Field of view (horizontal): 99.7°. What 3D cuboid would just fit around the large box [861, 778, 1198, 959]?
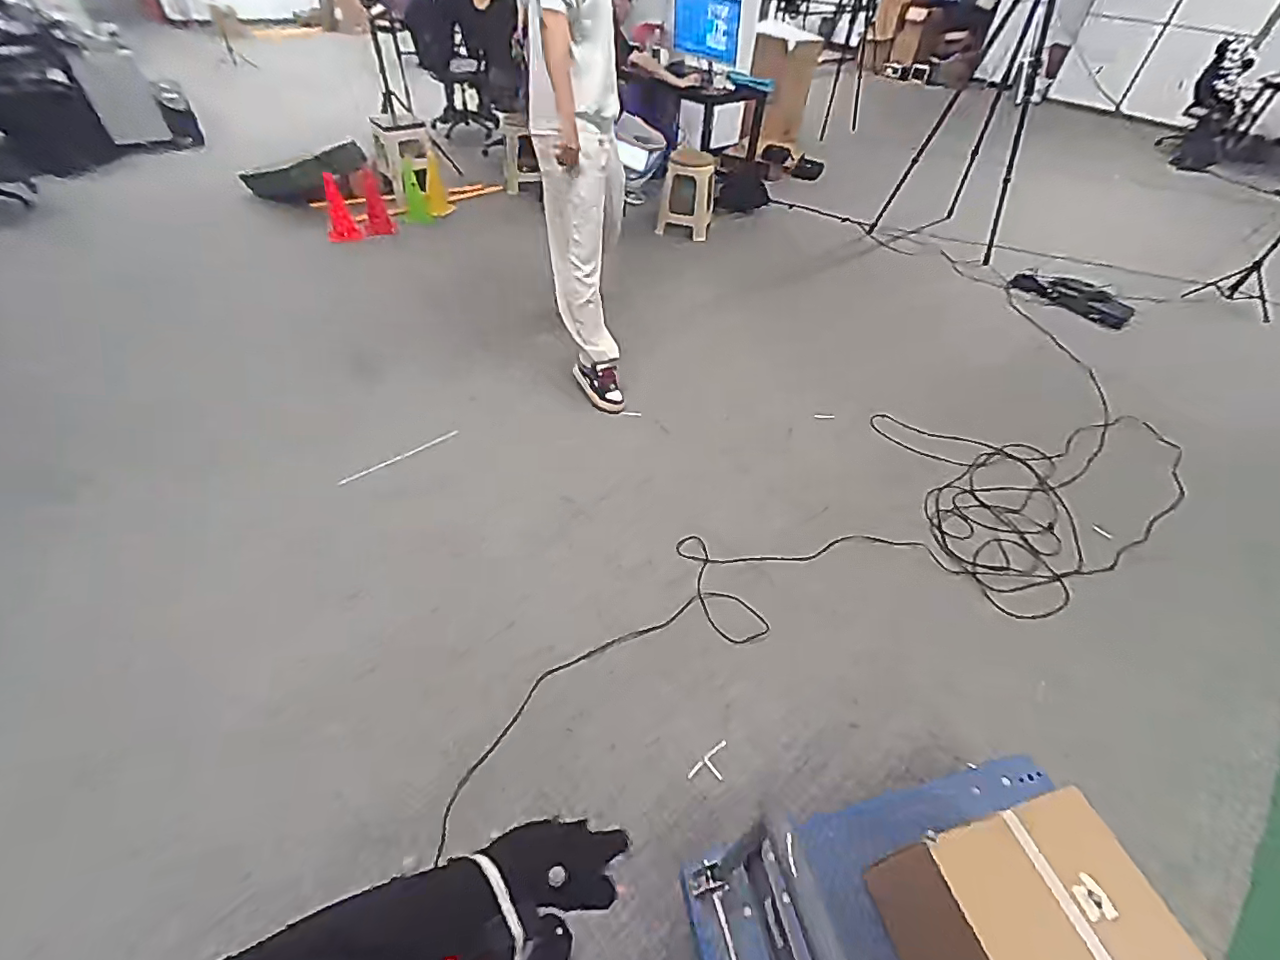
[{"bbox_3d":[0.650,0.794,0.900,0.320,0.320,0.408,-9,47,-13],"label":"large box"}]
